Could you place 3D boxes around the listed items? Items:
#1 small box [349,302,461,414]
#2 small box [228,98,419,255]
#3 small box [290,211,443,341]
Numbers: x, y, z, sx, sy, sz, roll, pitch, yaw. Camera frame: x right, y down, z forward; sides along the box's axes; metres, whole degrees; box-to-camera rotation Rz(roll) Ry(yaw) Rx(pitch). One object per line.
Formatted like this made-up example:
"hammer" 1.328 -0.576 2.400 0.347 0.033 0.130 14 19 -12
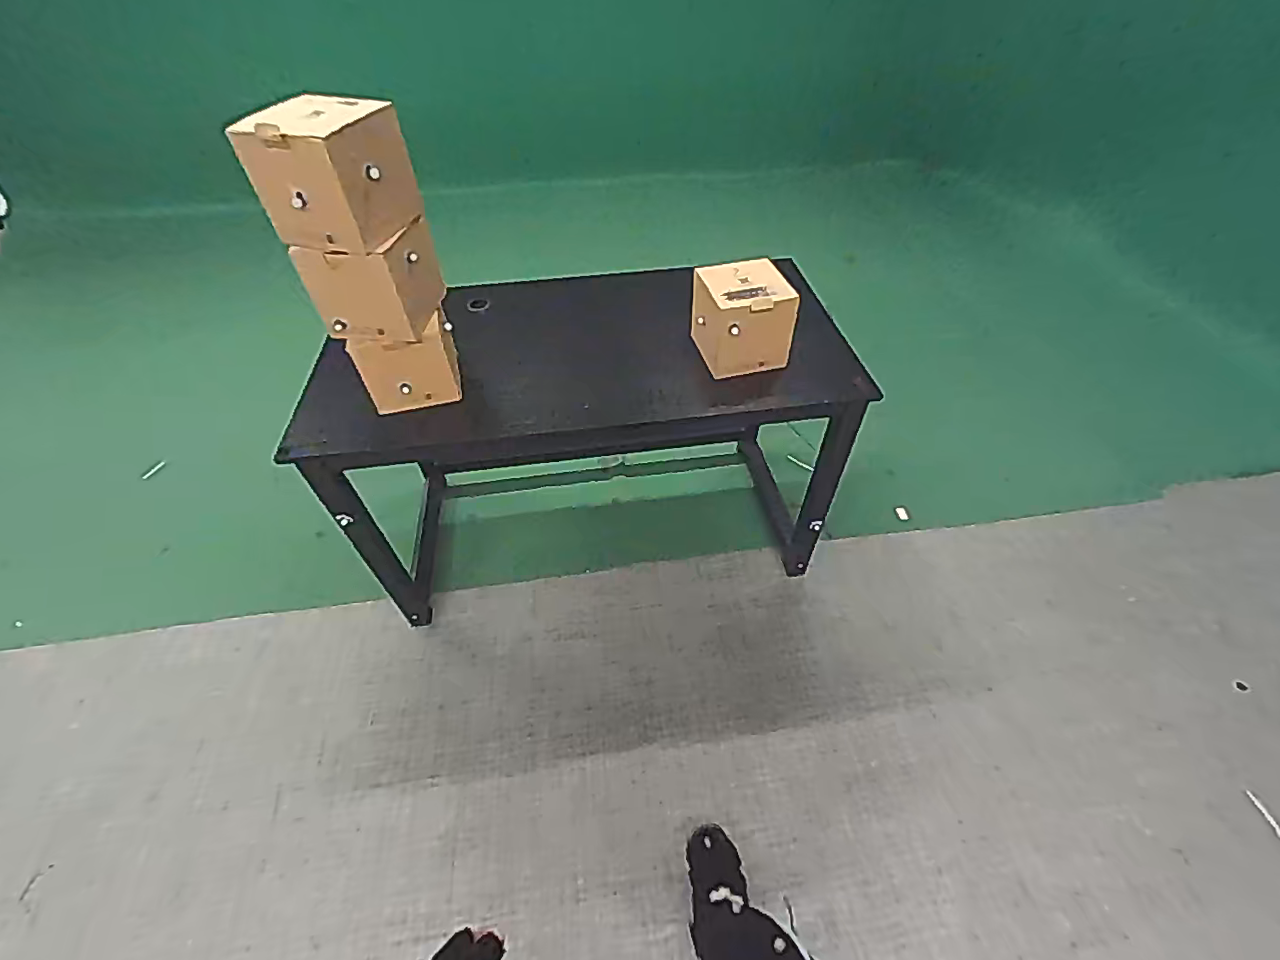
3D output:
"small box" -0.474 -0.263 1.109 0.168 0.176 0.179 -13 50 -10
"small box" -0.486 -0.484 0.866 0.168 0.176 0.179 12 51 10
"small box" -0.481 -0.371 0.985 0.168 0.176 0.179 4 49 4
